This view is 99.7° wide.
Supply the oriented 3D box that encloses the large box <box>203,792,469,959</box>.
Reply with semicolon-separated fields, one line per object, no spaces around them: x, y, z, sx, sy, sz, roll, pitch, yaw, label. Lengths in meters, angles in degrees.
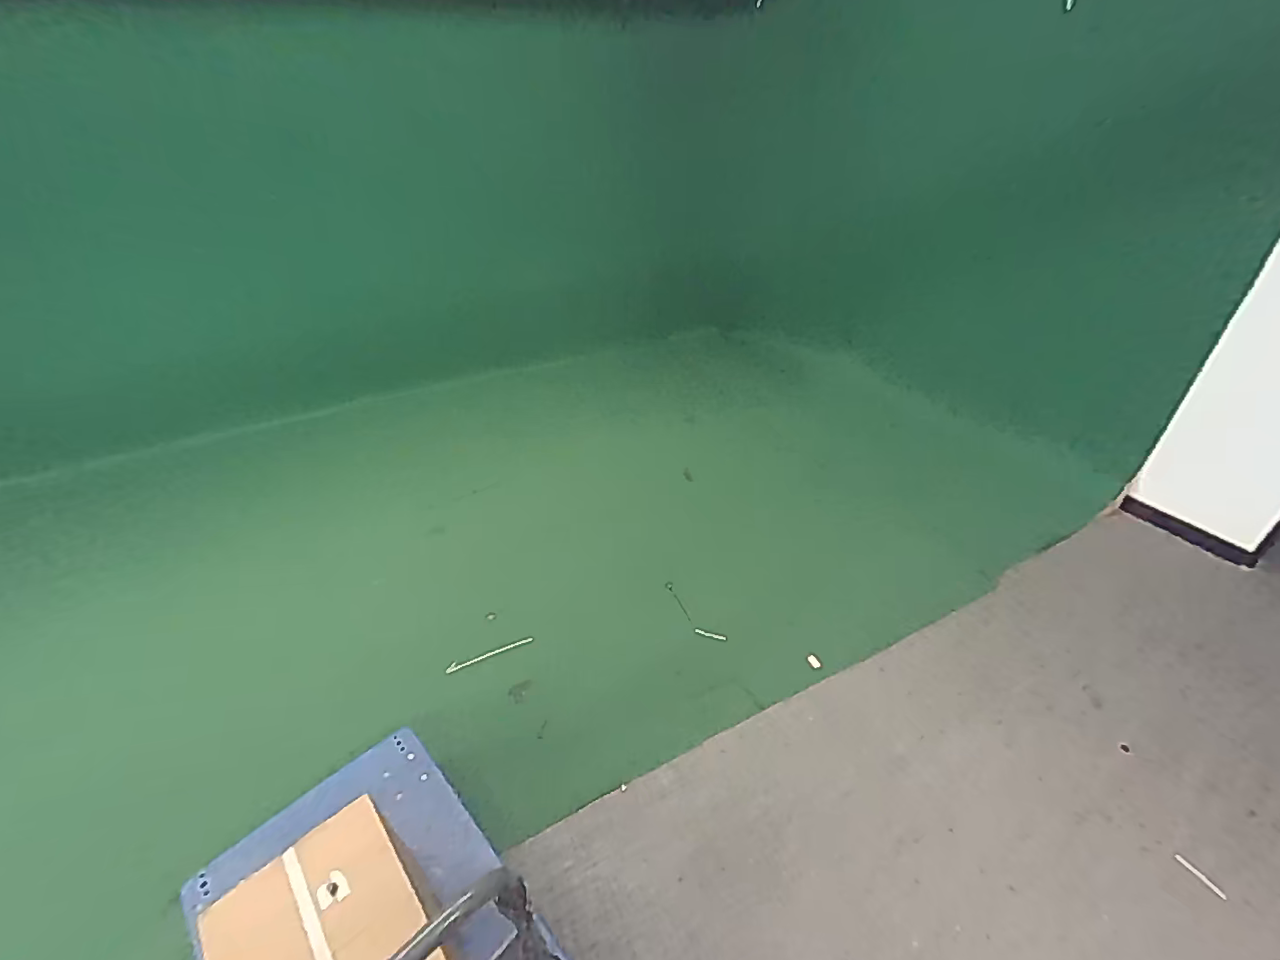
-0.549;0.925;1.038;0.320;0.320;0.408;-29;43;-32;large box
